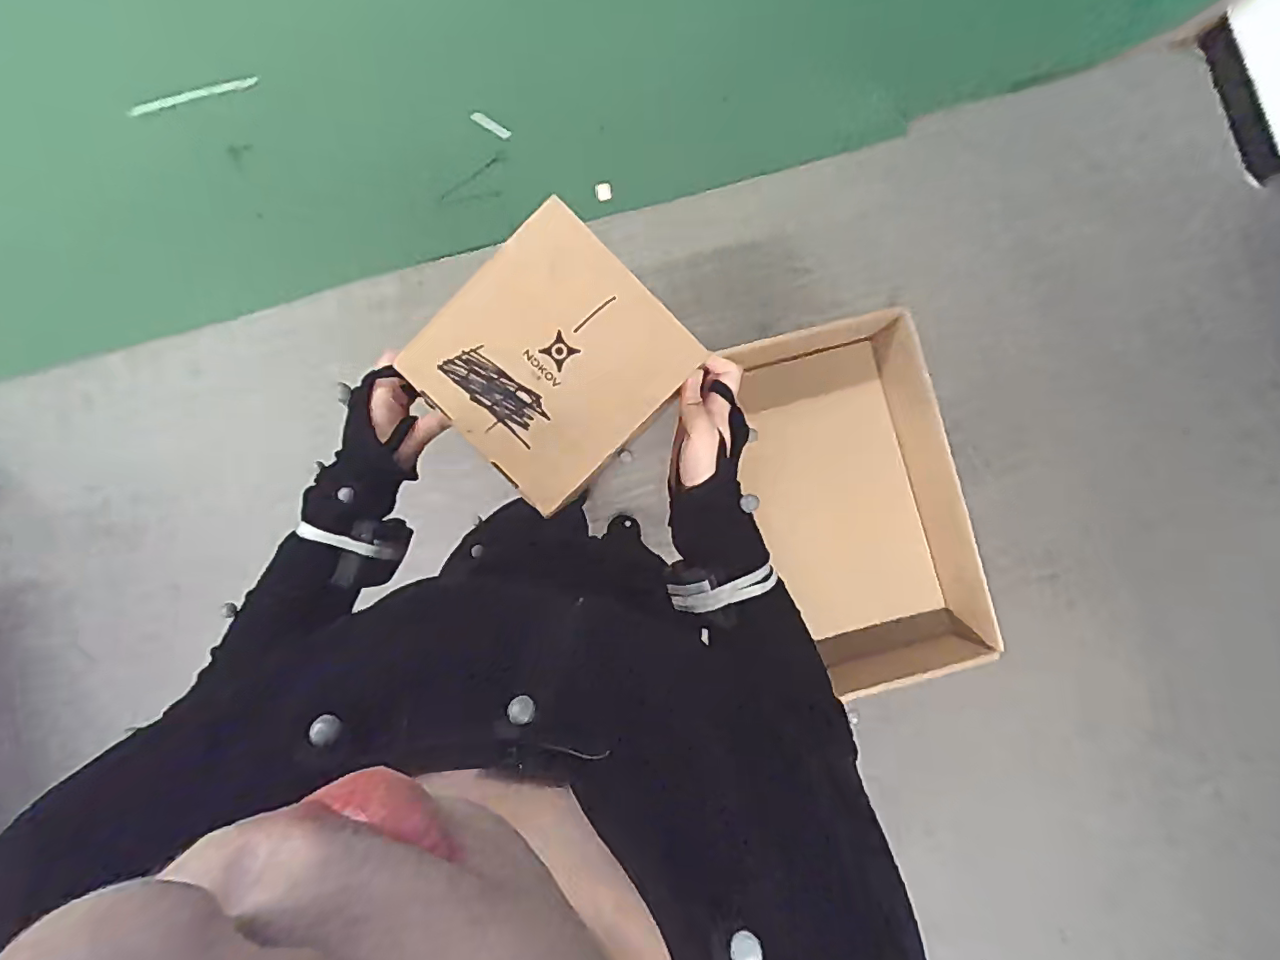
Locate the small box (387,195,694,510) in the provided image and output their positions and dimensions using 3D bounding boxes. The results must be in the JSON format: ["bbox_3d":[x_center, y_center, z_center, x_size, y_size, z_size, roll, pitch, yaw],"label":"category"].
[{"bbox_3d":[-0.071,-0.095,0.479,0.168,0.176,0.179,45,93,-1],"label":"small box"}]
